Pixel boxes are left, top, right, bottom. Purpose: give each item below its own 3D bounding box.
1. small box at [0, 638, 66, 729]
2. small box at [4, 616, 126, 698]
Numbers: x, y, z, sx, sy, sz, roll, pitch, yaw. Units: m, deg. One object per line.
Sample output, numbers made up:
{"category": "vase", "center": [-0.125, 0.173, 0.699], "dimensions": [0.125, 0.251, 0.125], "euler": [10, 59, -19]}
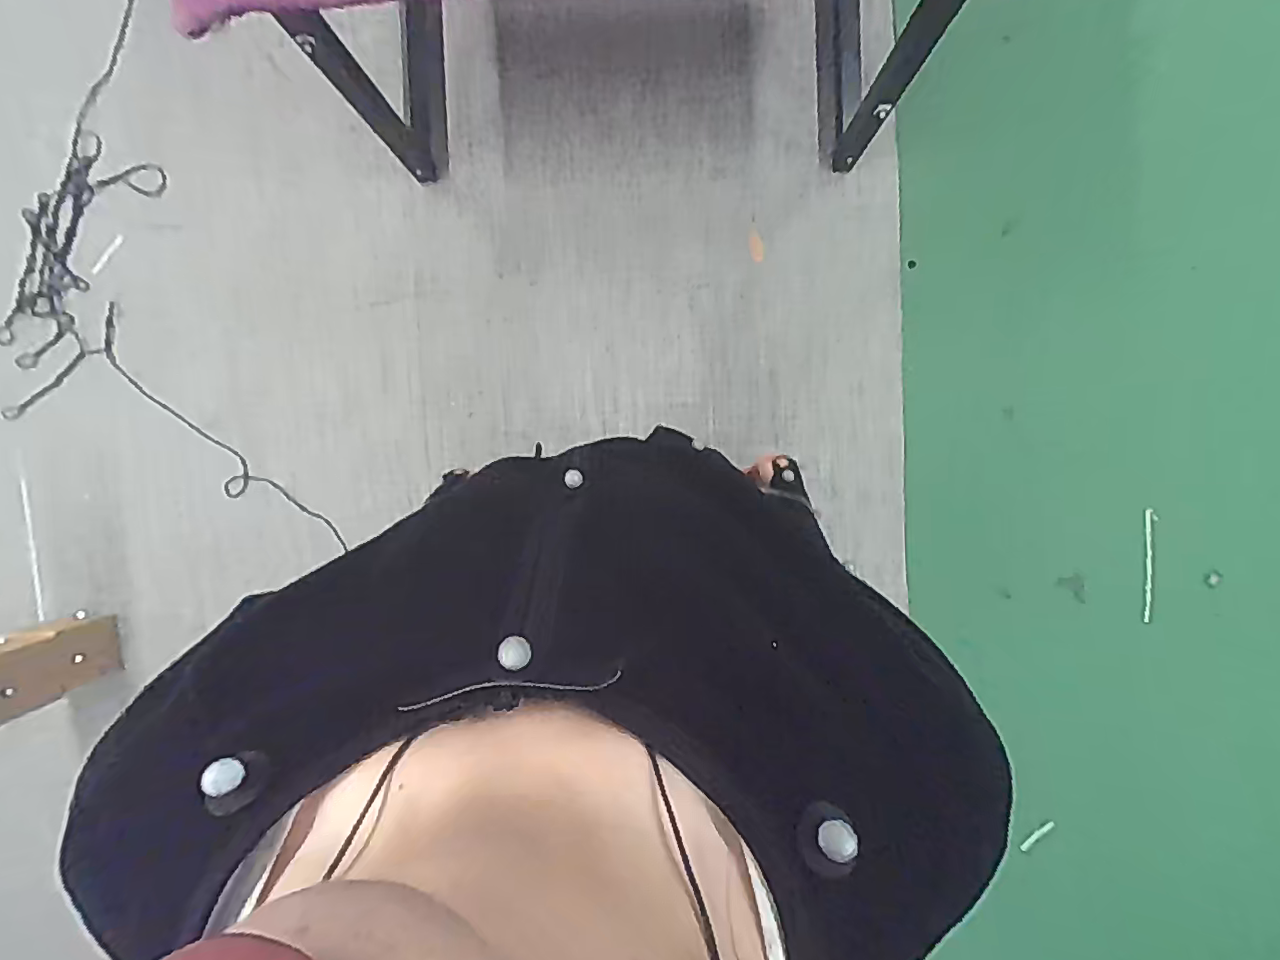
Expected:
{"category": "small box", "center": [-1.601, 0.511, 1.349], "dimensions": [0.168, 0.176, 0.179], "euler": [-4, 93, 1]}
{"category": "small box", "center": [-1.596, 0.493, 1.512], "dimensions": [0.168, 0.176, 0.179], "euler": [-4, 92, 2]}
